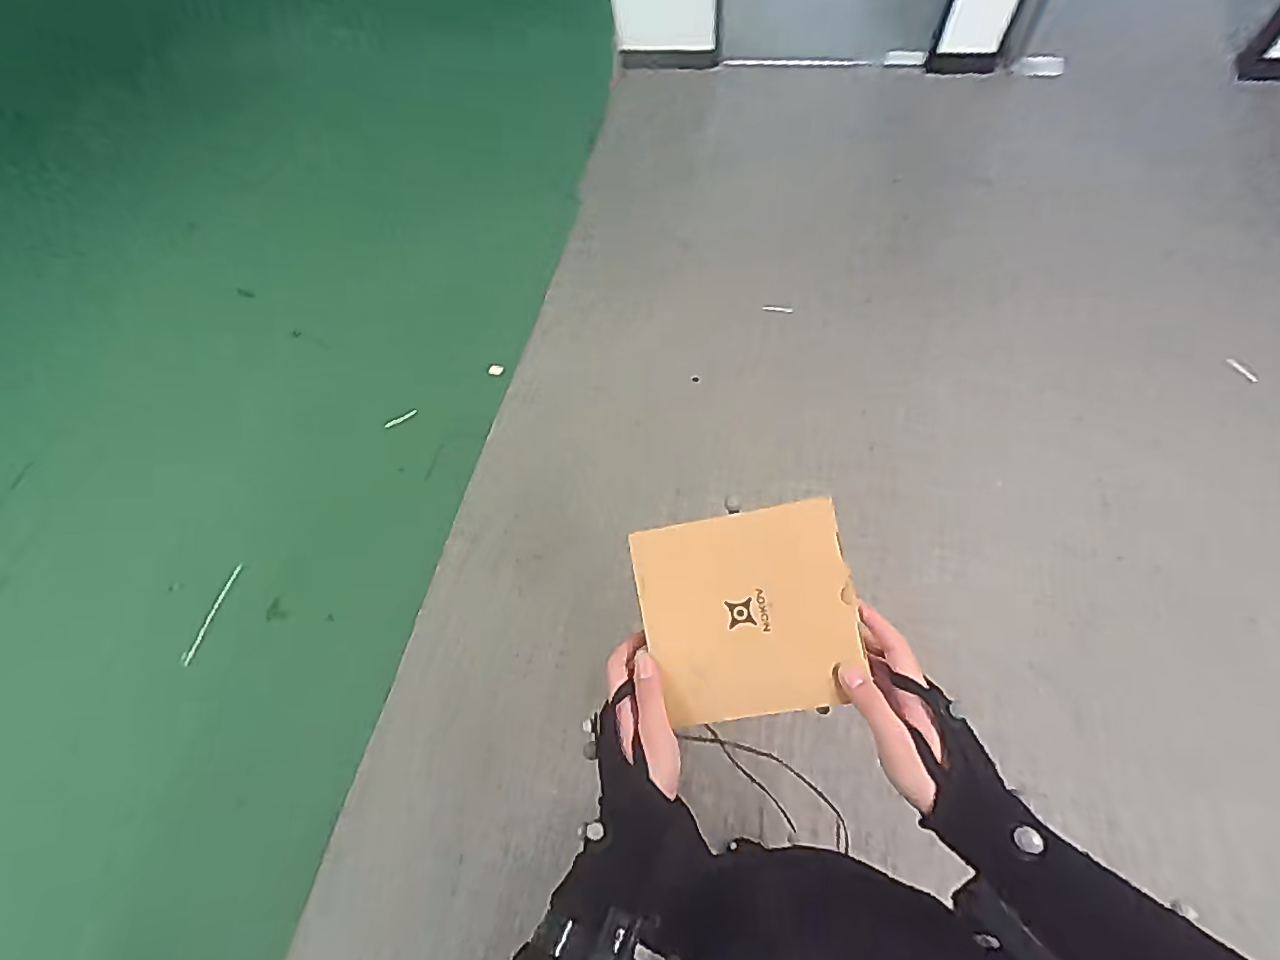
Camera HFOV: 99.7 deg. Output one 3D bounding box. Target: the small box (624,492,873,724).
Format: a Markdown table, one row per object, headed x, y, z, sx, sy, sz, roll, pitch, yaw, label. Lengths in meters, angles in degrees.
| x | y | z | sx | sy | sz | roll | pitch | yaw | label |
| --- | --- | --- | --- | --- | --- | --- | --- | --- | --- |
| 0.095 | 0.114 | 0.515 | 0.179 | 0.176 | 0.168 | -11 | 82 | 7 | small box |
